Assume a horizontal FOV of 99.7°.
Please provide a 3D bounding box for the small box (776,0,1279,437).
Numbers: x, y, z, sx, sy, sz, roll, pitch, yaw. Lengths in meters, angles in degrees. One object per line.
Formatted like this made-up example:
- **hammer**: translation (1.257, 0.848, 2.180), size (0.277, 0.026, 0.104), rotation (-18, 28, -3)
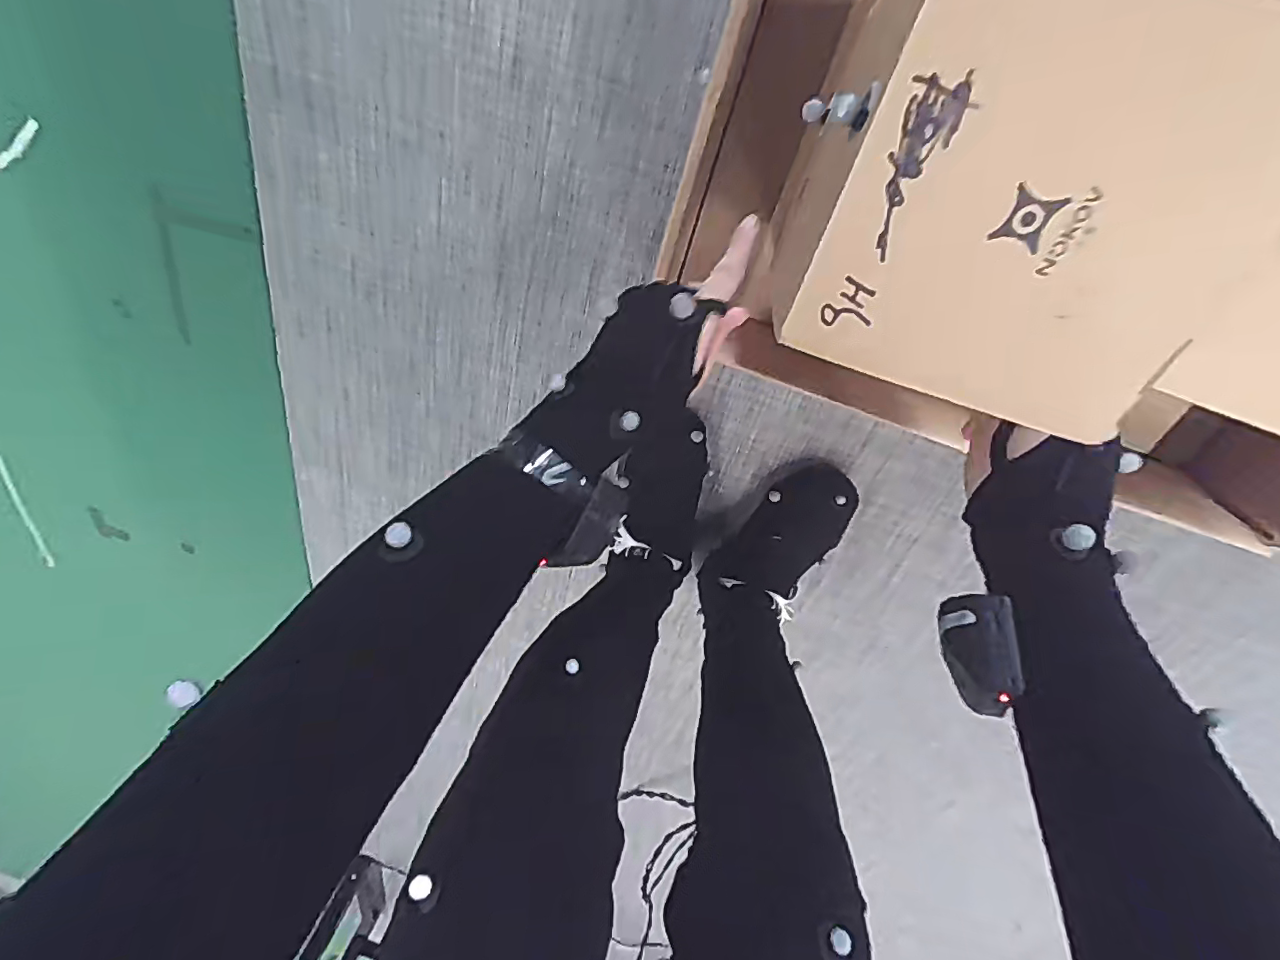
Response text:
- **small box**: translation (0.190, -0.154, 0.300), size (0.179, 0.176, 0.168), rotation (18, 123, -1)
